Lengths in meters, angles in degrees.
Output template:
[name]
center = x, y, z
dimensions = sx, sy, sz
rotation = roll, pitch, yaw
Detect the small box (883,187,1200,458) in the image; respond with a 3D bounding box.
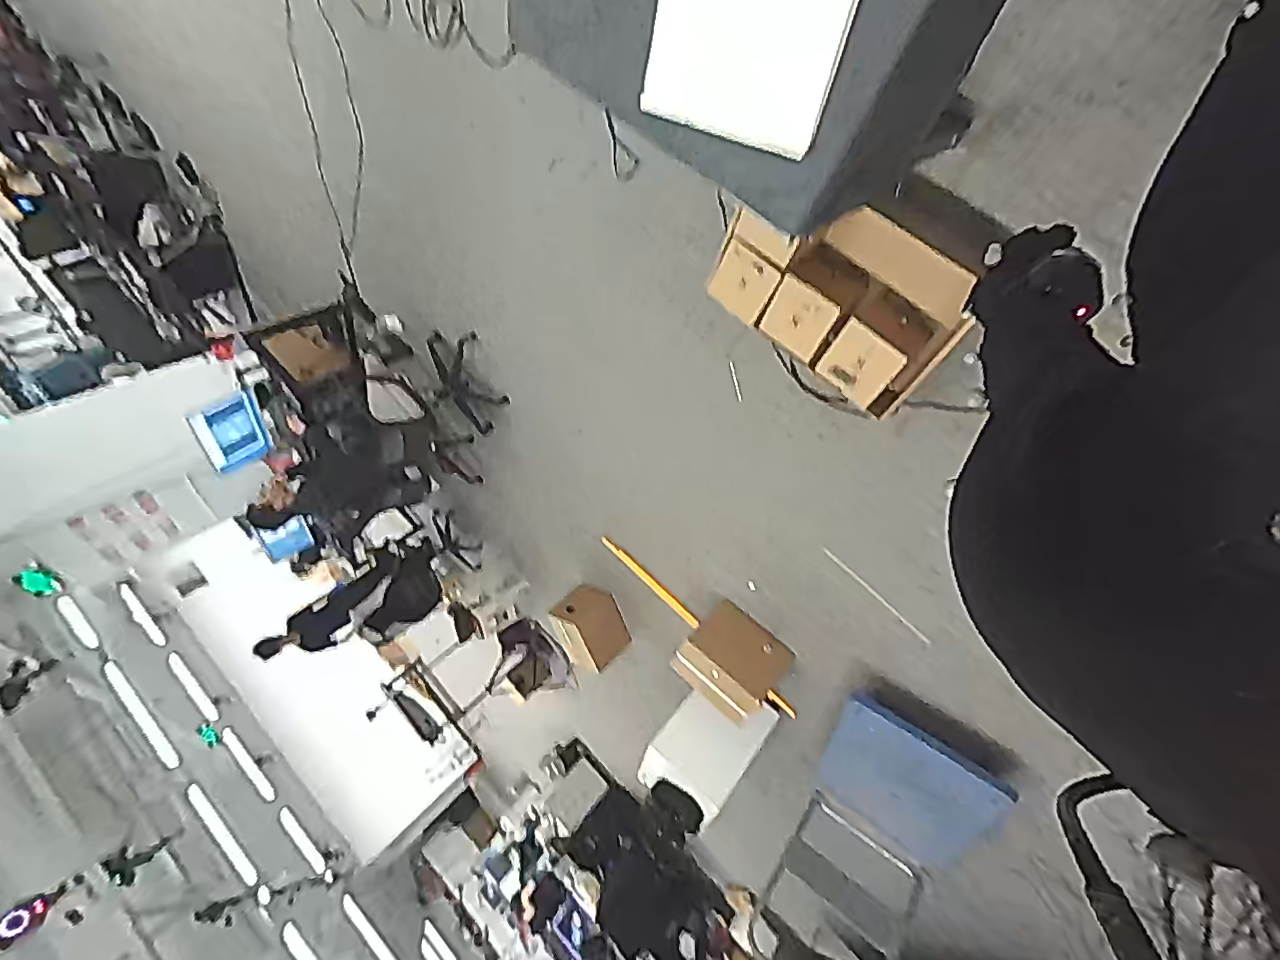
[small box]
center = 0.366, -0.141, 0.537
dimensions = 0.176, 0.179, 0.168
rotation = -41, 81, 27
